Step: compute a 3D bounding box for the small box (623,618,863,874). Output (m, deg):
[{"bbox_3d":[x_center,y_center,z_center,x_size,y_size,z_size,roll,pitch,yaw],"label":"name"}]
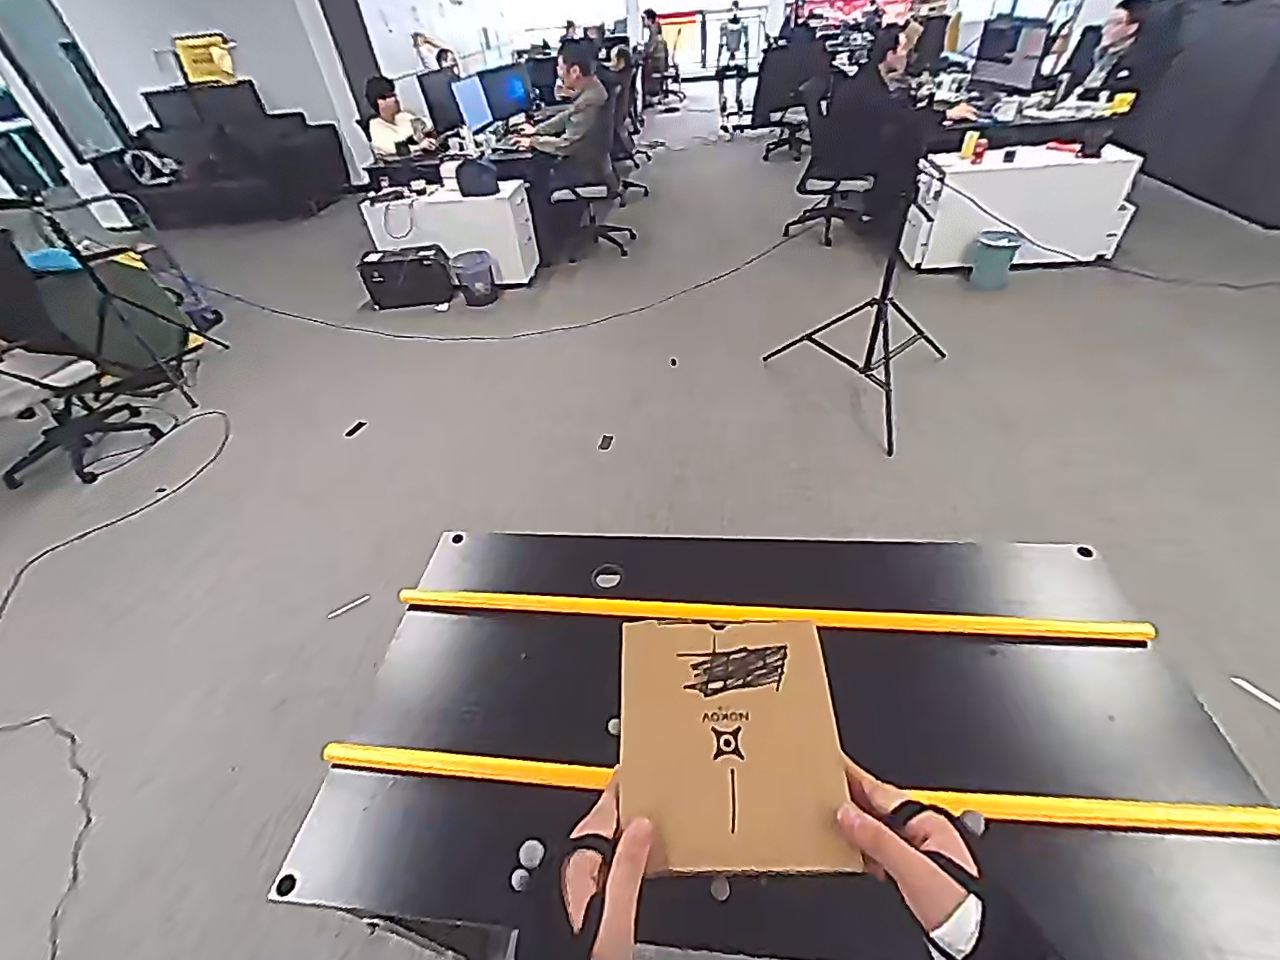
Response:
[{"bbox_3d":[0.074,0.238,0.479,0.168,0.176,0.179,-1,54,3],"label":"small box"}]
